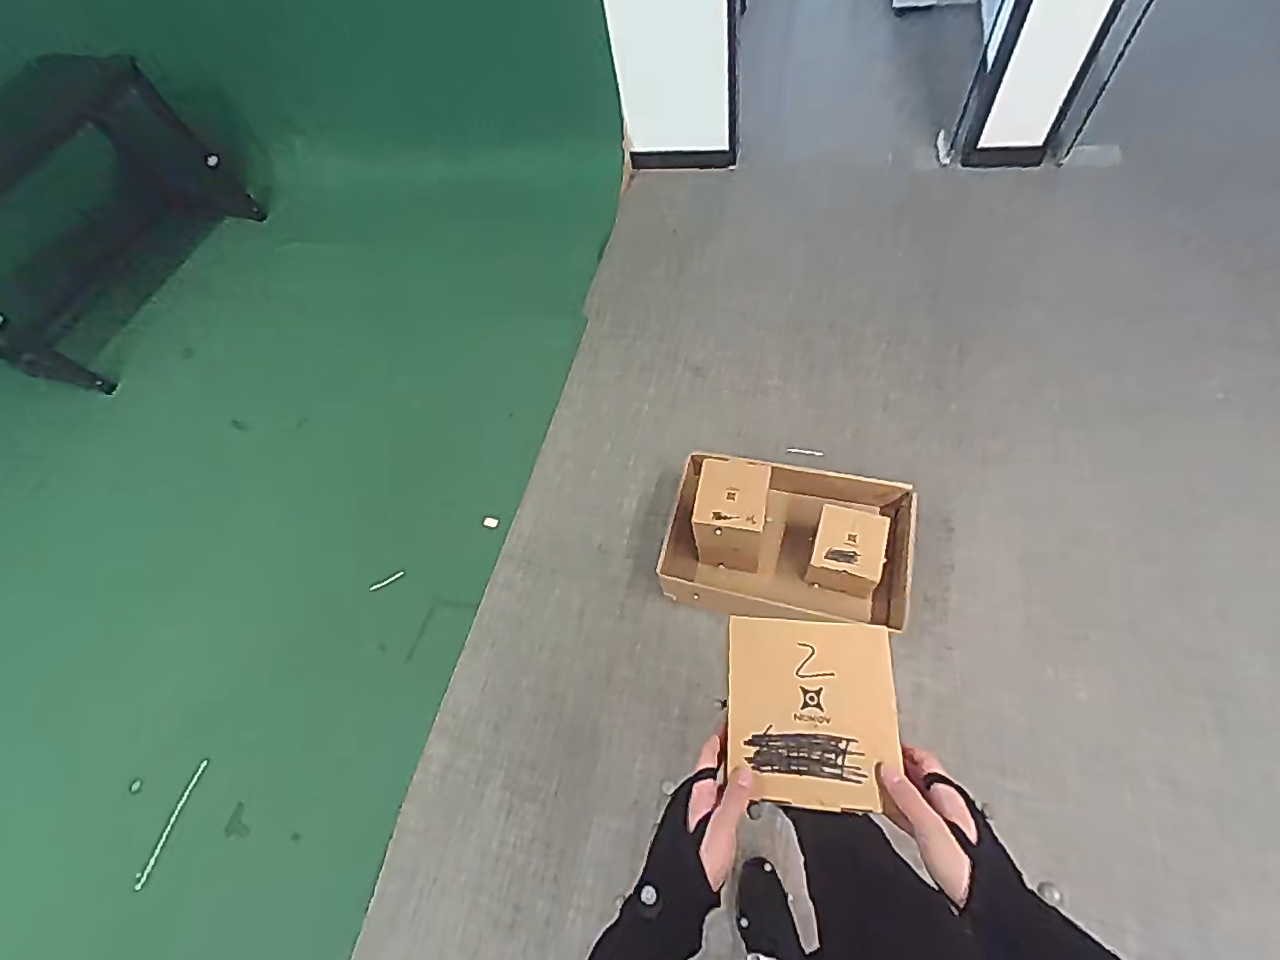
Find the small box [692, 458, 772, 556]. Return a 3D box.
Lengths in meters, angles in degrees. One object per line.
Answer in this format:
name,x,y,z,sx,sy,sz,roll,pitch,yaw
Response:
small box,0.230,0.069,1.348,0.168,0.176,0.179,8,64,14
